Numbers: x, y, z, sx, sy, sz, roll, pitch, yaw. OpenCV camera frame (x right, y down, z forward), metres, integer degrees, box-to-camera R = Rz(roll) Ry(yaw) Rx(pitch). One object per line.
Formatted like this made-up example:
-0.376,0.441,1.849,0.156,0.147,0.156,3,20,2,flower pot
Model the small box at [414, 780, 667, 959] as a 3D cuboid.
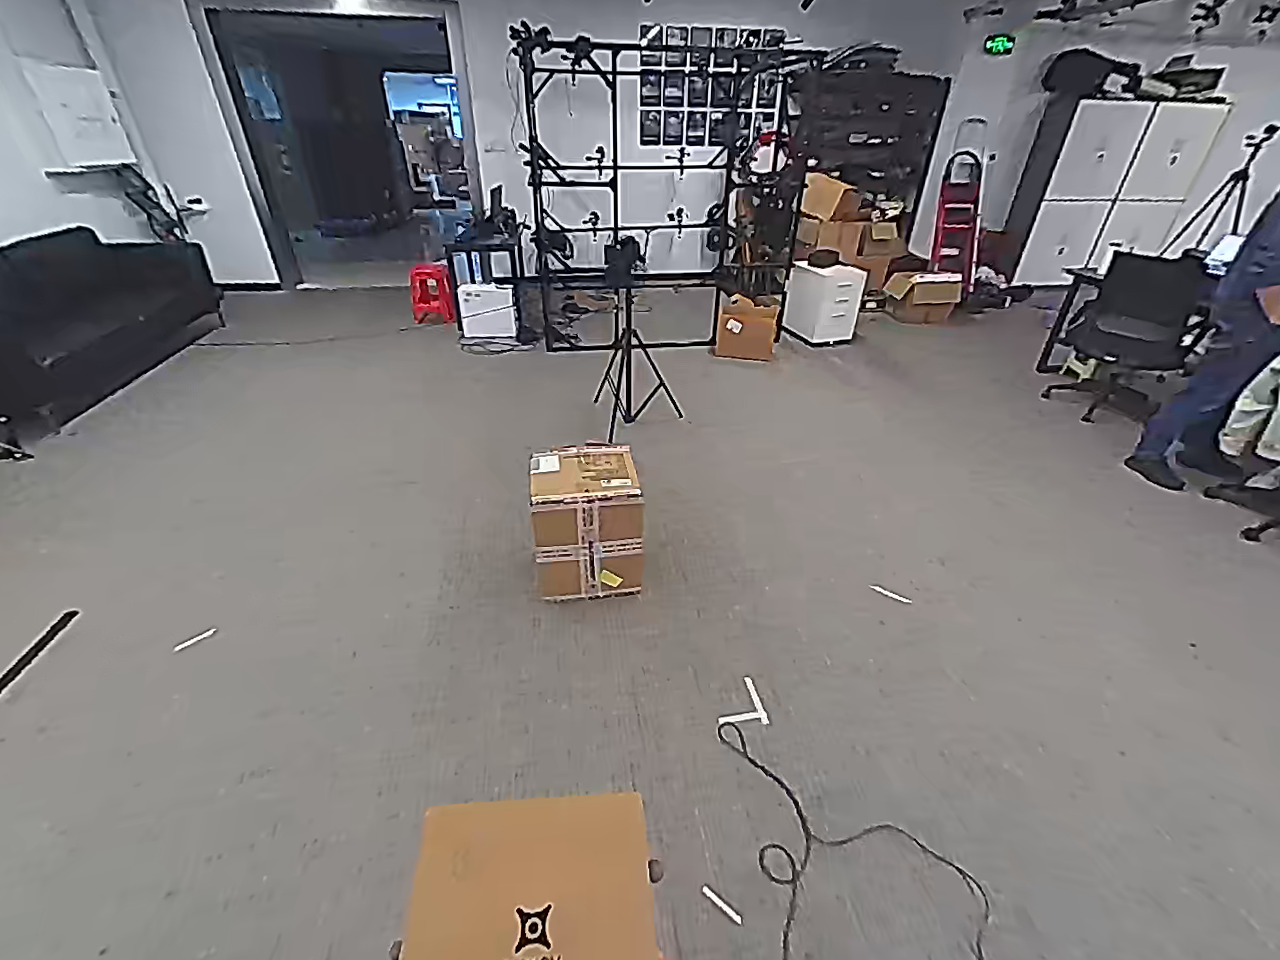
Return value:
-0.073,0.359,0.415,0.168,0.176,0.179,0,42,-8,small box
